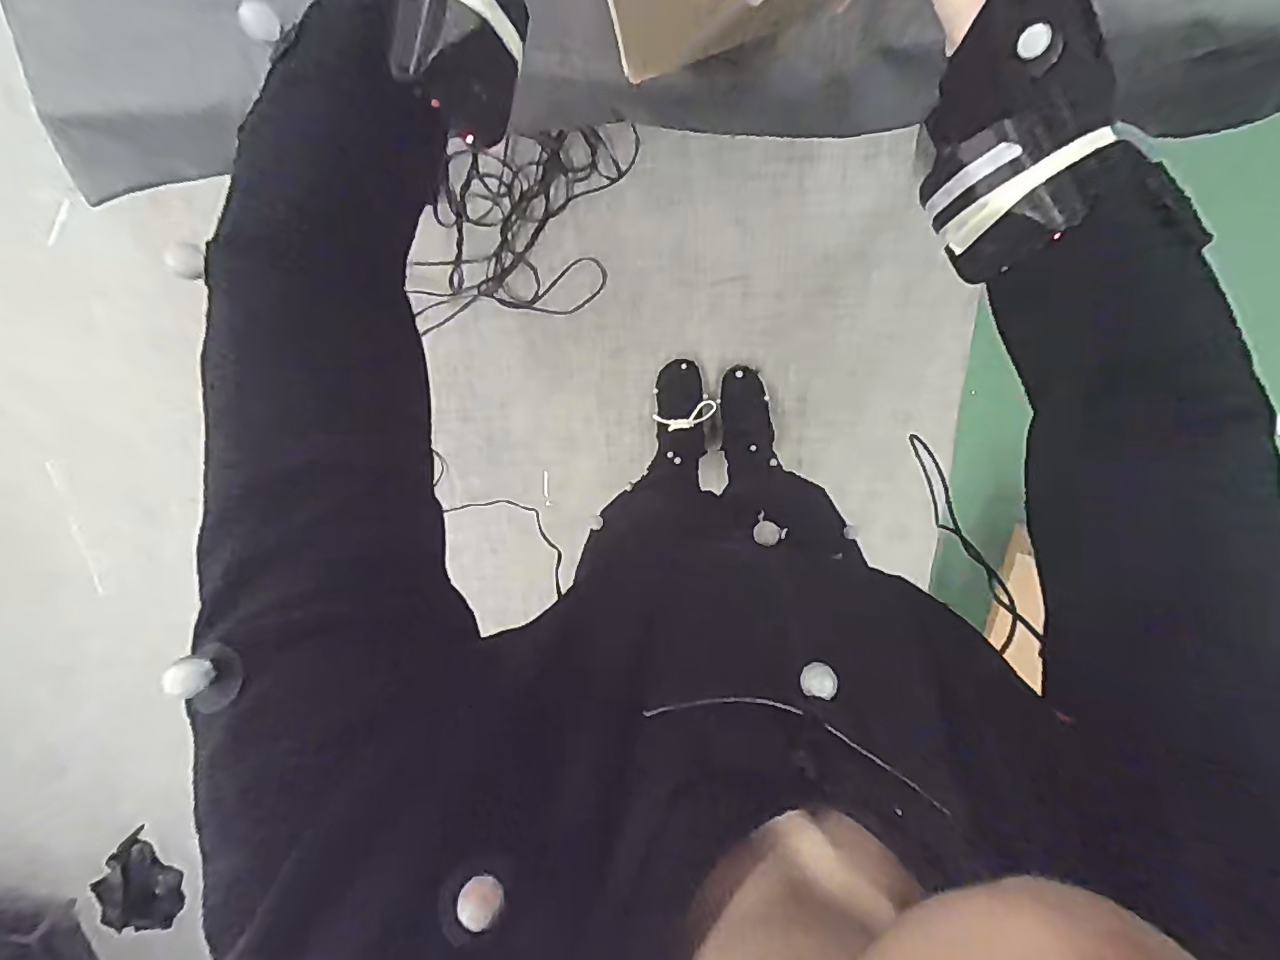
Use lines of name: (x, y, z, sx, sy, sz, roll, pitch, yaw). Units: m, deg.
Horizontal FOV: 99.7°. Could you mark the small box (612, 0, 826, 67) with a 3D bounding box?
small box: (0.053, -0.382, 0.311, 0.179, 0.176, 0.168, -14, 111, 8)
